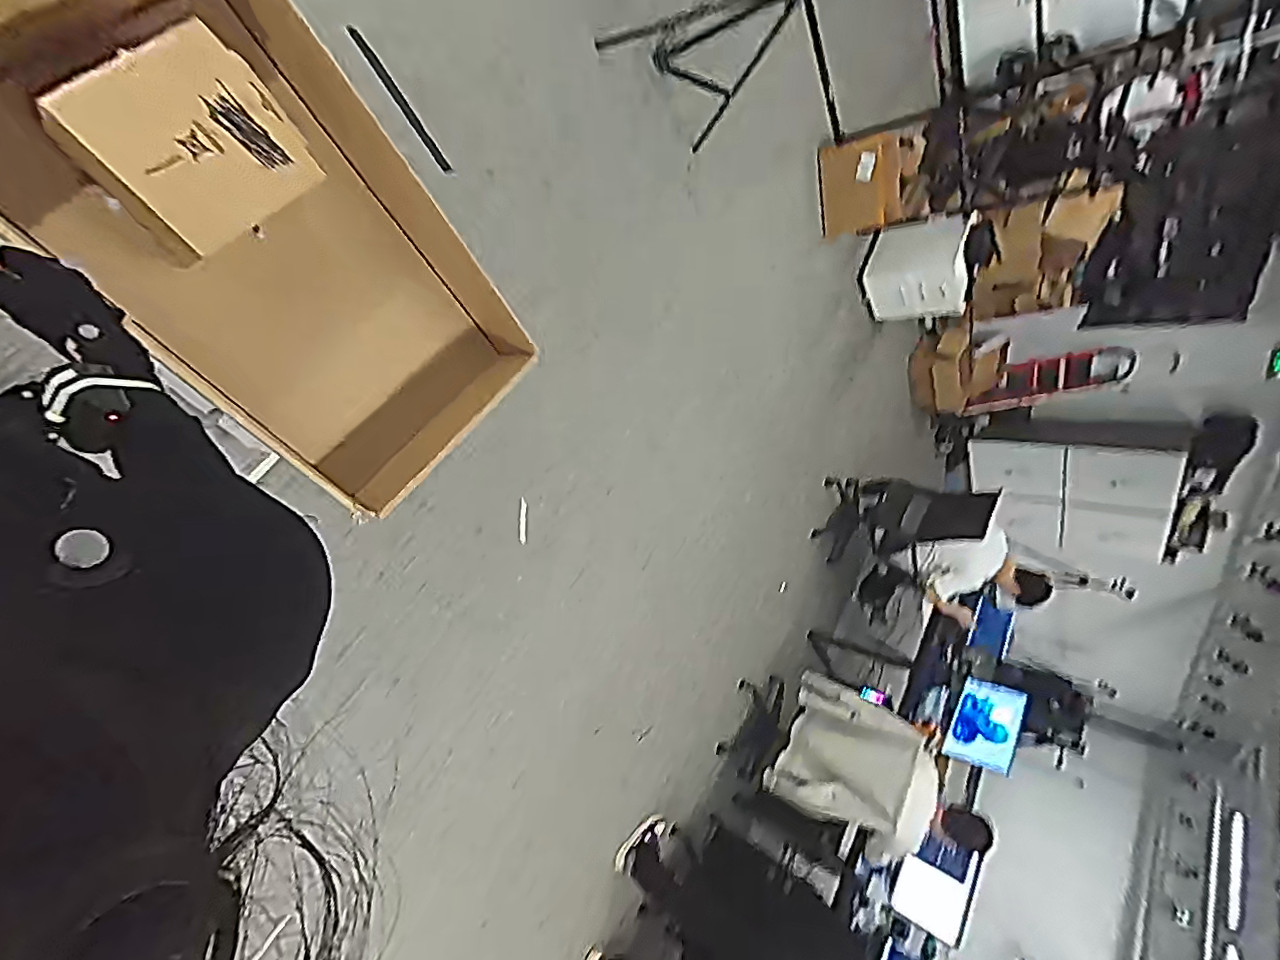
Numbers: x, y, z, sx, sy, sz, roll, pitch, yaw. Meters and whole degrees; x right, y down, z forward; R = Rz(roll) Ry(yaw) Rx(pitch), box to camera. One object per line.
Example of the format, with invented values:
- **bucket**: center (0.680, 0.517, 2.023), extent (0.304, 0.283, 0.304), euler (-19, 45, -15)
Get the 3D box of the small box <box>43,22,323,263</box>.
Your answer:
- **small box**: center (-0.523, -0.377, 0.631), extent (0.179, 0.176, 0.168), euler (-51, 131, -21)
